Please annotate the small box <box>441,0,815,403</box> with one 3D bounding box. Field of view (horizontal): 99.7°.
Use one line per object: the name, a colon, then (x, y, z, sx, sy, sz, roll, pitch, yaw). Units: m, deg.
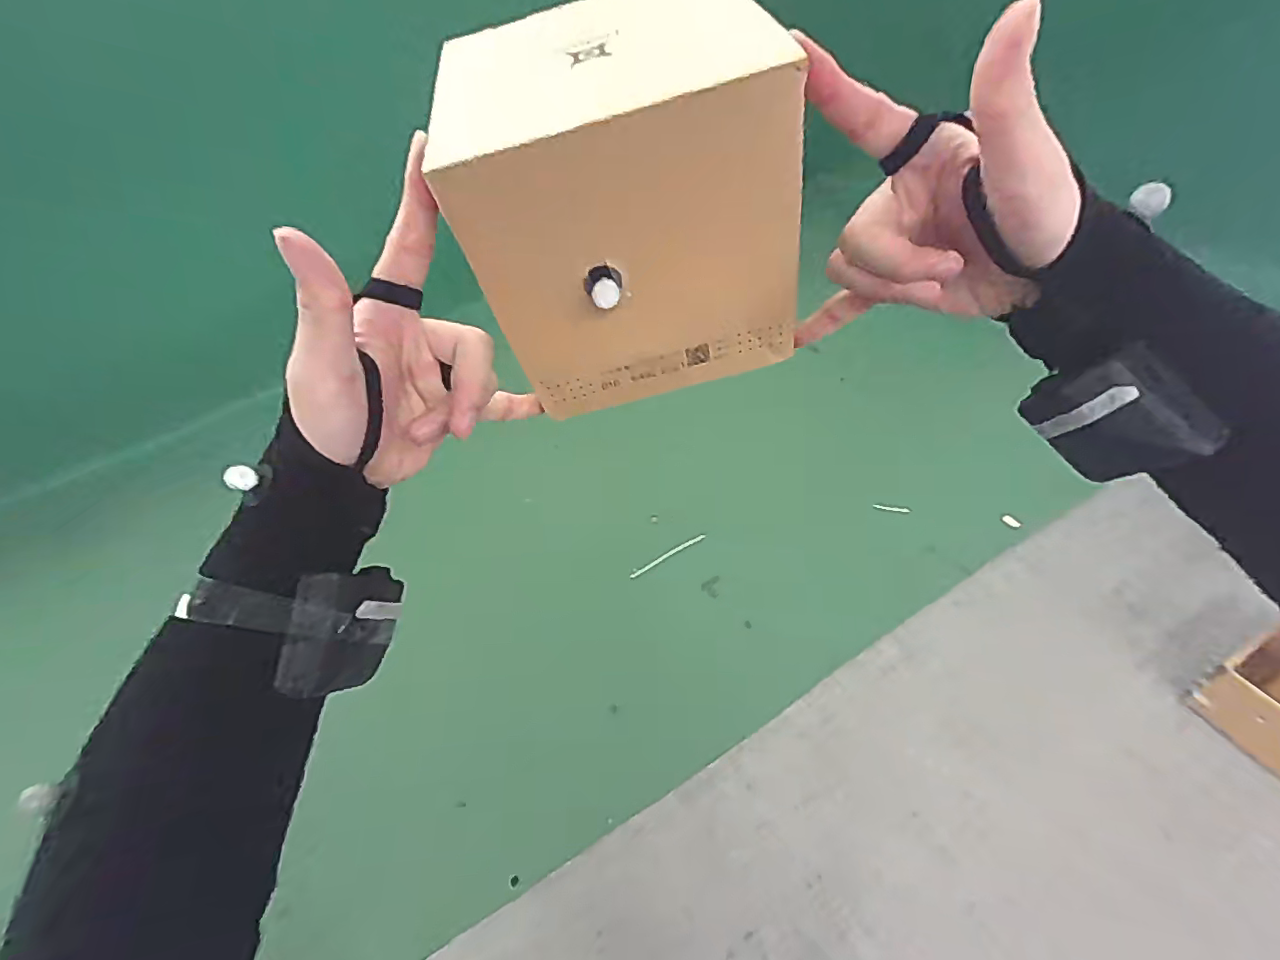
small box: (-0.001, -0.167, 0.334, 0.168, 0.176, 0.179, -14, 53, 4)
